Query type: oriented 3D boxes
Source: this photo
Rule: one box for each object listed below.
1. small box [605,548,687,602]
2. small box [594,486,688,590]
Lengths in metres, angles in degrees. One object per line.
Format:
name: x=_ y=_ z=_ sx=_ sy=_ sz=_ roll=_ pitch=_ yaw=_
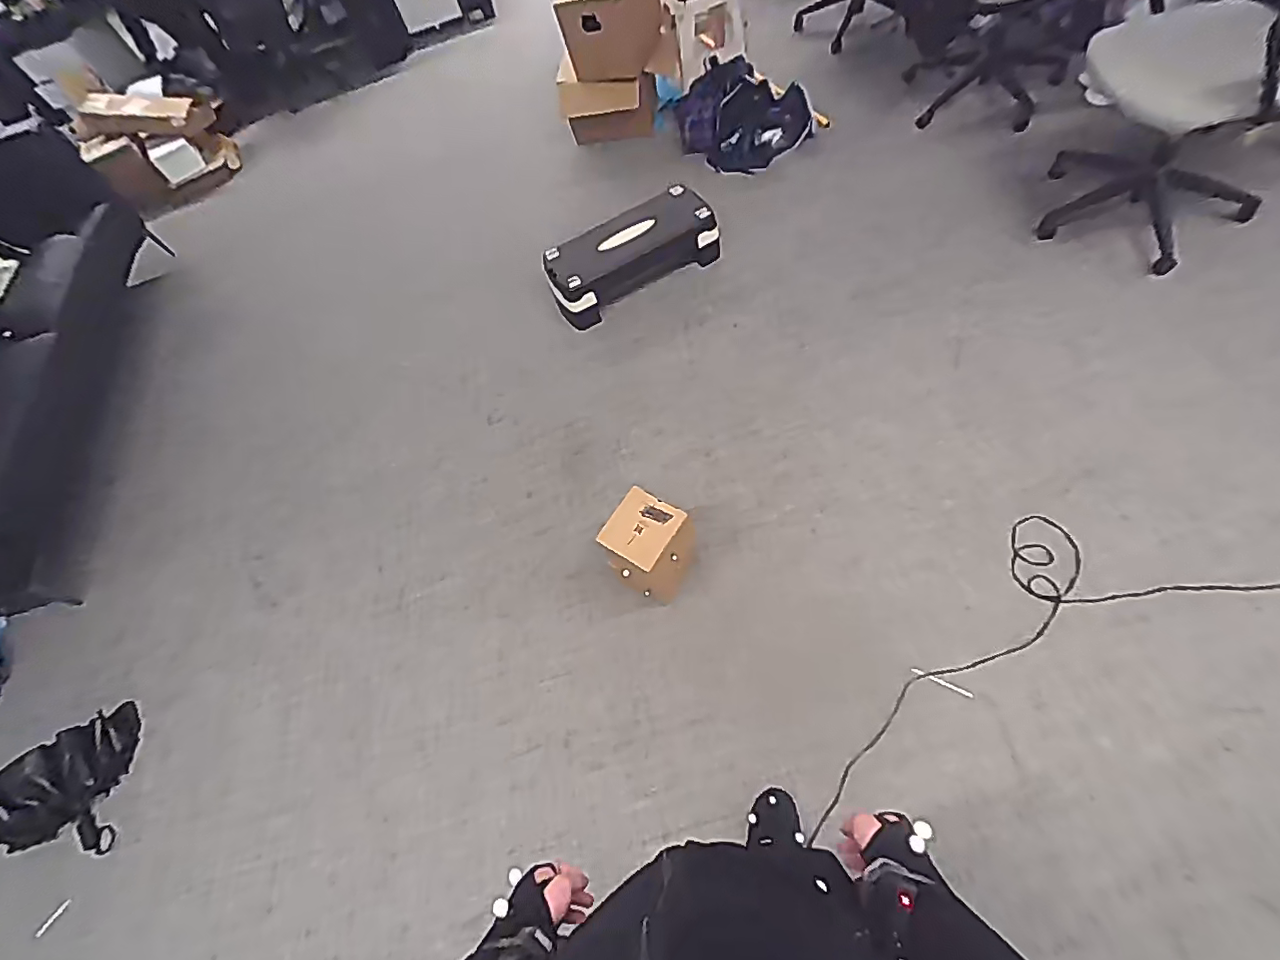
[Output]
small box: x=0.026 y=0.224 z=1.540 sx=0.168 sy=0.176 sz=0.179 roll=21 pitch=66 yaw=21
small box: x=0.012 y=0.153 z=1.391 sx=0.168 sy=0.176 sz=0.179 roll=28 pitch=71 yaw=24
